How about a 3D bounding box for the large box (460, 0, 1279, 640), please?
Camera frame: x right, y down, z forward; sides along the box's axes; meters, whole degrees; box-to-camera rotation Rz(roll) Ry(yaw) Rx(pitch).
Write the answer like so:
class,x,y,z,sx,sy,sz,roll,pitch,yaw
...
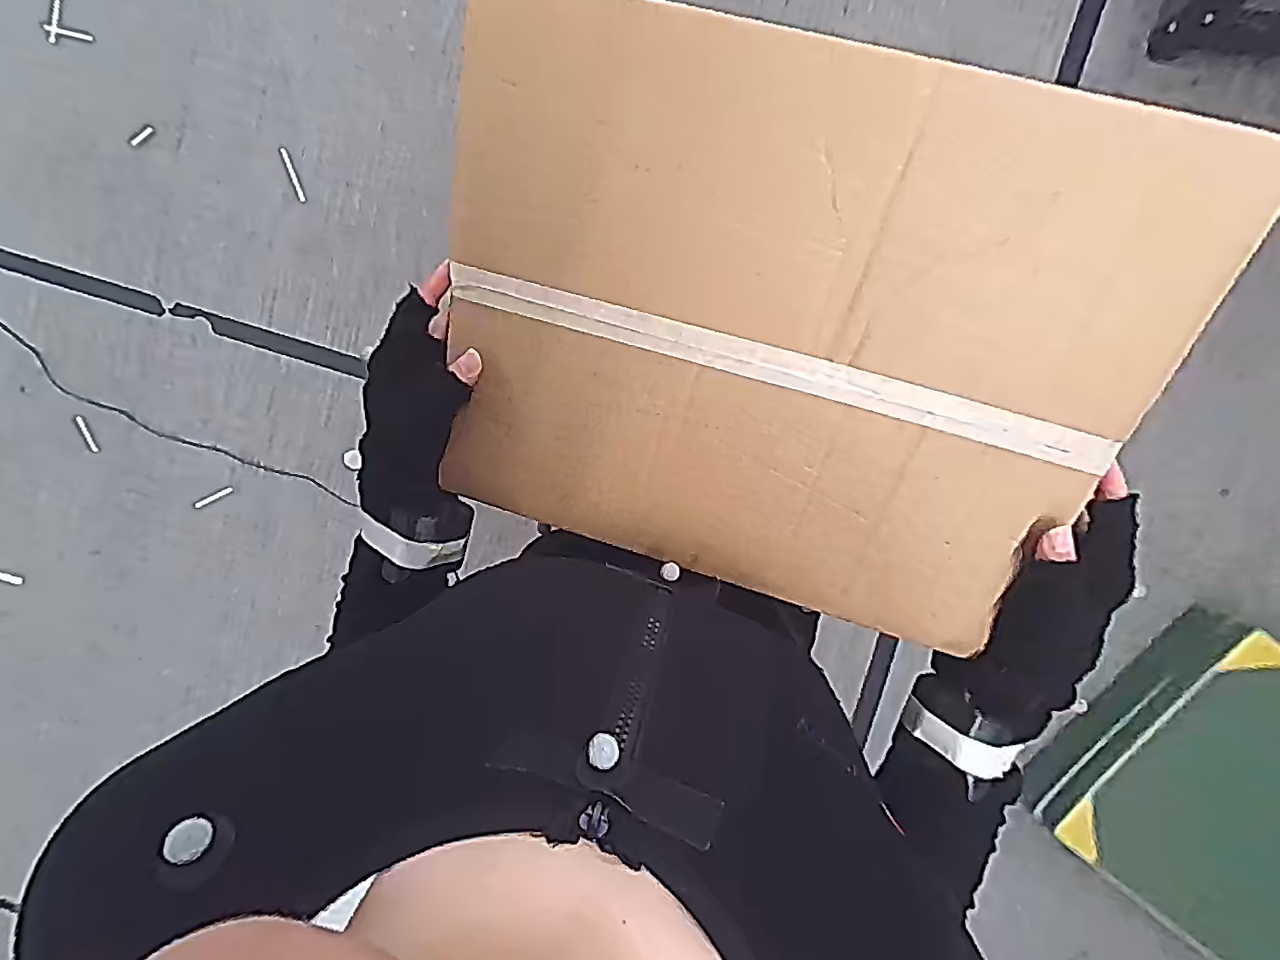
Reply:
class,x,y,z,sx,sy,sz,roll,pitch,yaw
large box,0.110,-0.132,0.468,0.408,0.320,0.320,18,117,6
